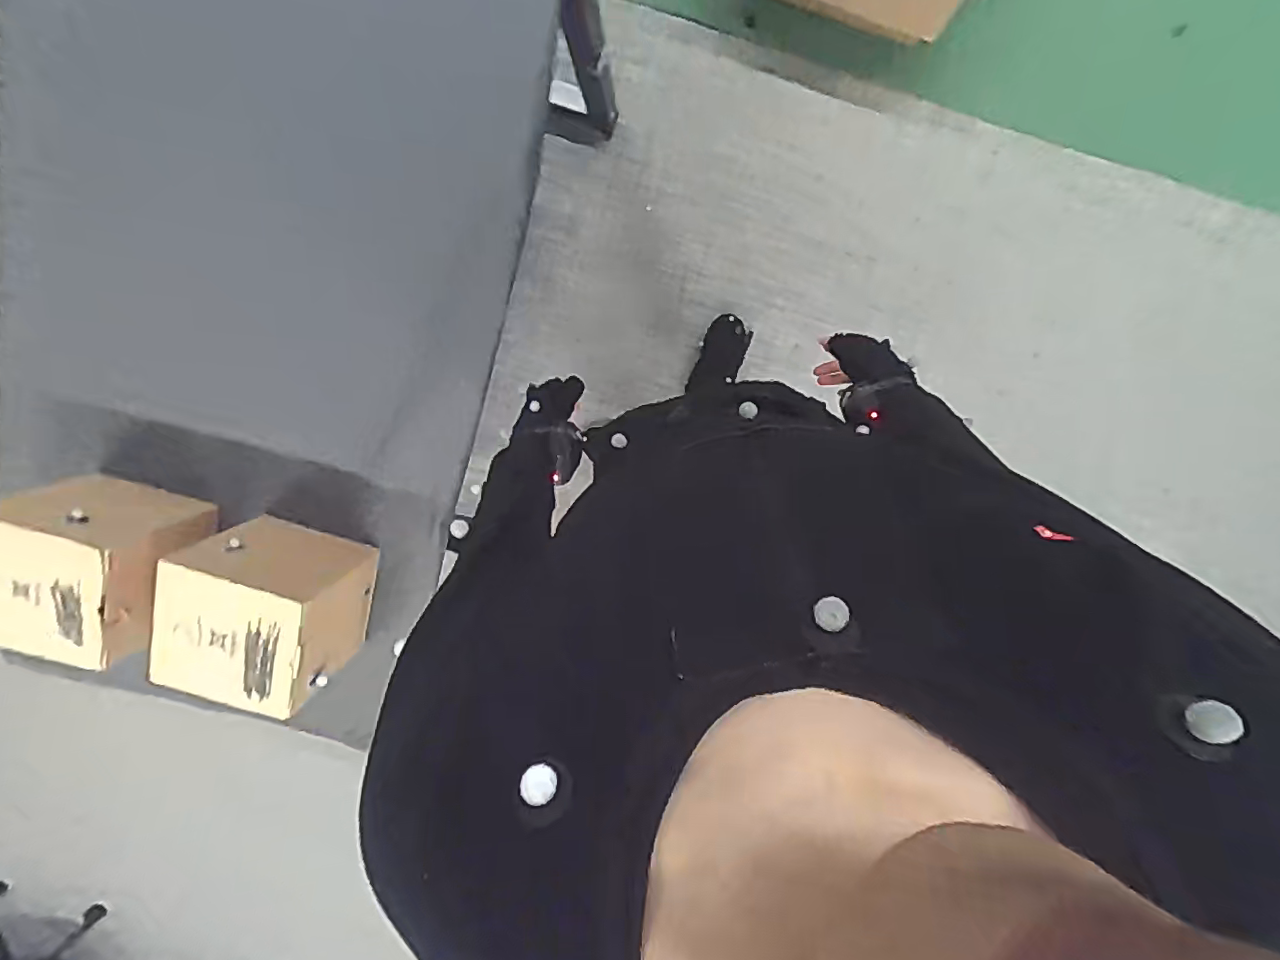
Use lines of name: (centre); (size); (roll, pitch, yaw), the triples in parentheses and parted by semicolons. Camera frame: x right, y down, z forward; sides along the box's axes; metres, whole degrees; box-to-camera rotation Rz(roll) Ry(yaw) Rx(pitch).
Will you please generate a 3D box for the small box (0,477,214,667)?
small box: (-0.702, 0.107, 0.702); (0.179, 0.176, 0.168); (16, 104, -2)
